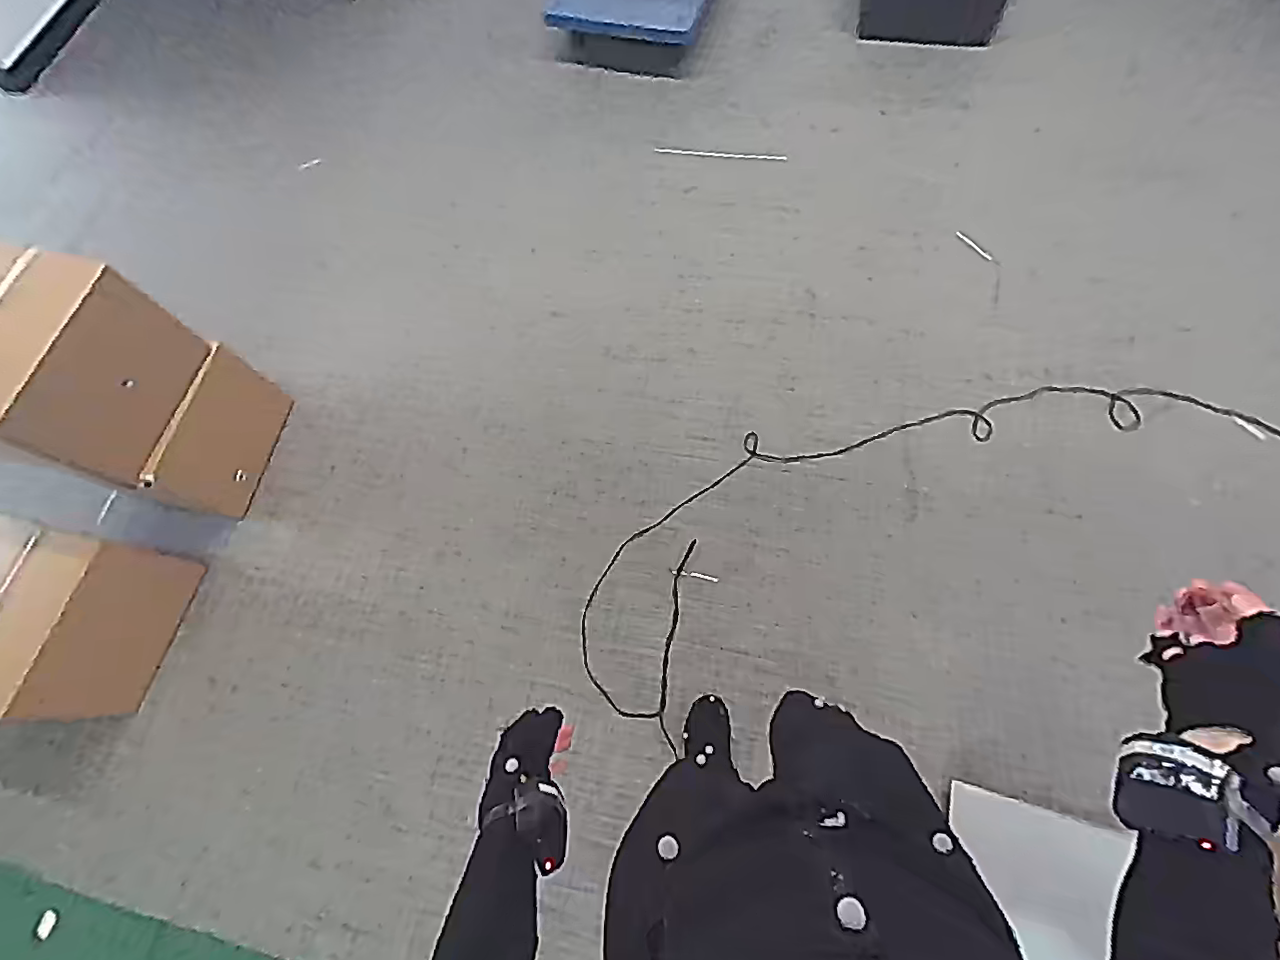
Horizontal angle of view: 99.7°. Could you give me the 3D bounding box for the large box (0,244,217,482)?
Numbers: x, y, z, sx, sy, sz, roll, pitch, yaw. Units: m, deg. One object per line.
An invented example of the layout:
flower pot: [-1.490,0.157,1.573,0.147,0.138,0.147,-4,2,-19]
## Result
large box: [-1.296,-0.253,1.236,0.320,0.320,0.408,12,71,4]
